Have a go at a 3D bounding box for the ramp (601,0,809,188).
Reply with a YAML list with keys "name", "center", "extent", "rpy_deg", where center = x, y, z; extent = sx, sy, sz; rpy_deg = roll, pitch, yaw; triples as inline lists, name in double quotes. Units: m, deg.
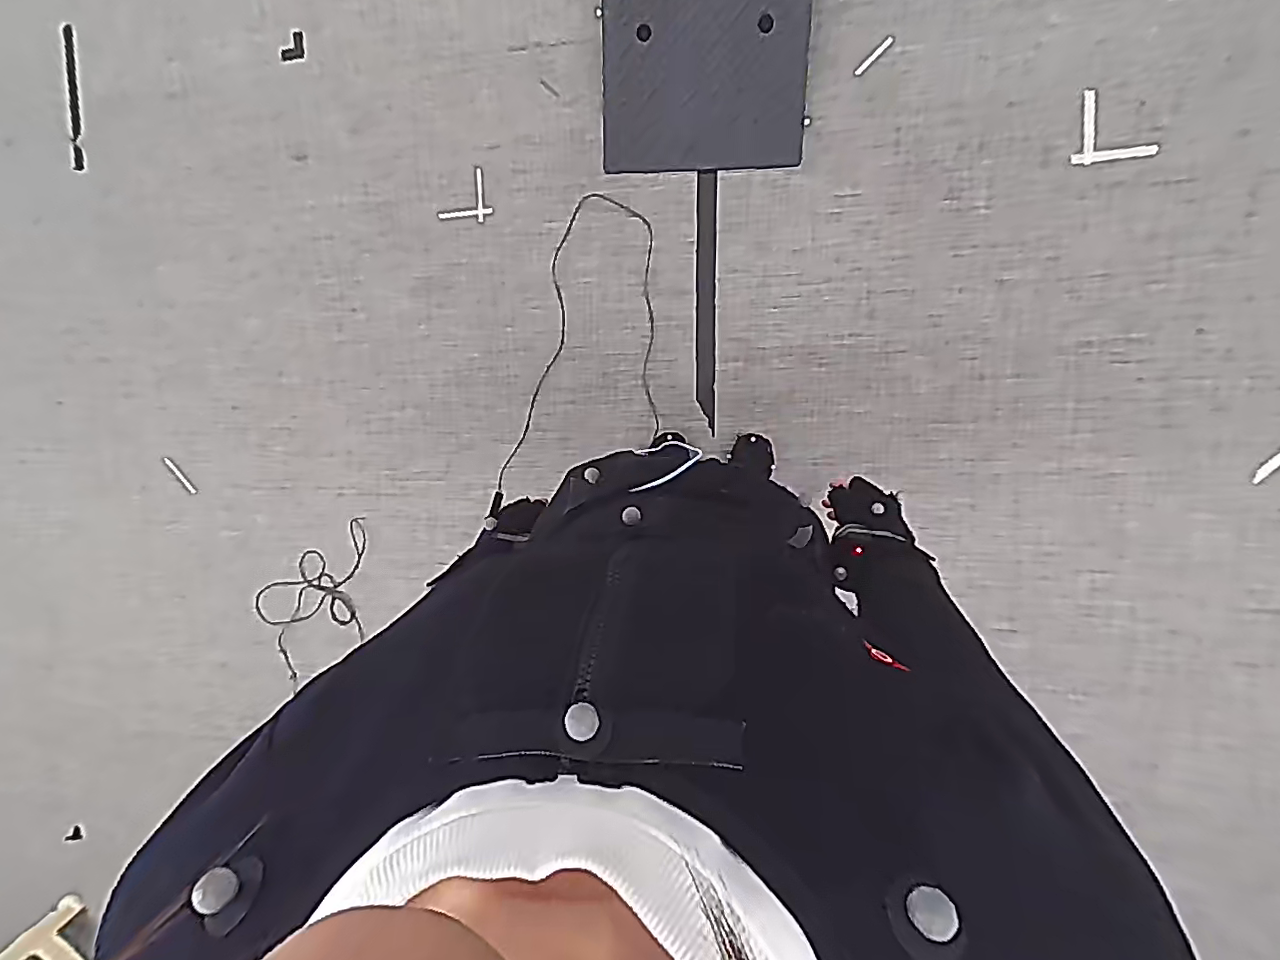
- name: "ramp"
  center: [0.147, -1.242, 1.253]
  extent: [0.509, 0.206, 0.991]
  rpy_deg: [-1, 95, 8]
